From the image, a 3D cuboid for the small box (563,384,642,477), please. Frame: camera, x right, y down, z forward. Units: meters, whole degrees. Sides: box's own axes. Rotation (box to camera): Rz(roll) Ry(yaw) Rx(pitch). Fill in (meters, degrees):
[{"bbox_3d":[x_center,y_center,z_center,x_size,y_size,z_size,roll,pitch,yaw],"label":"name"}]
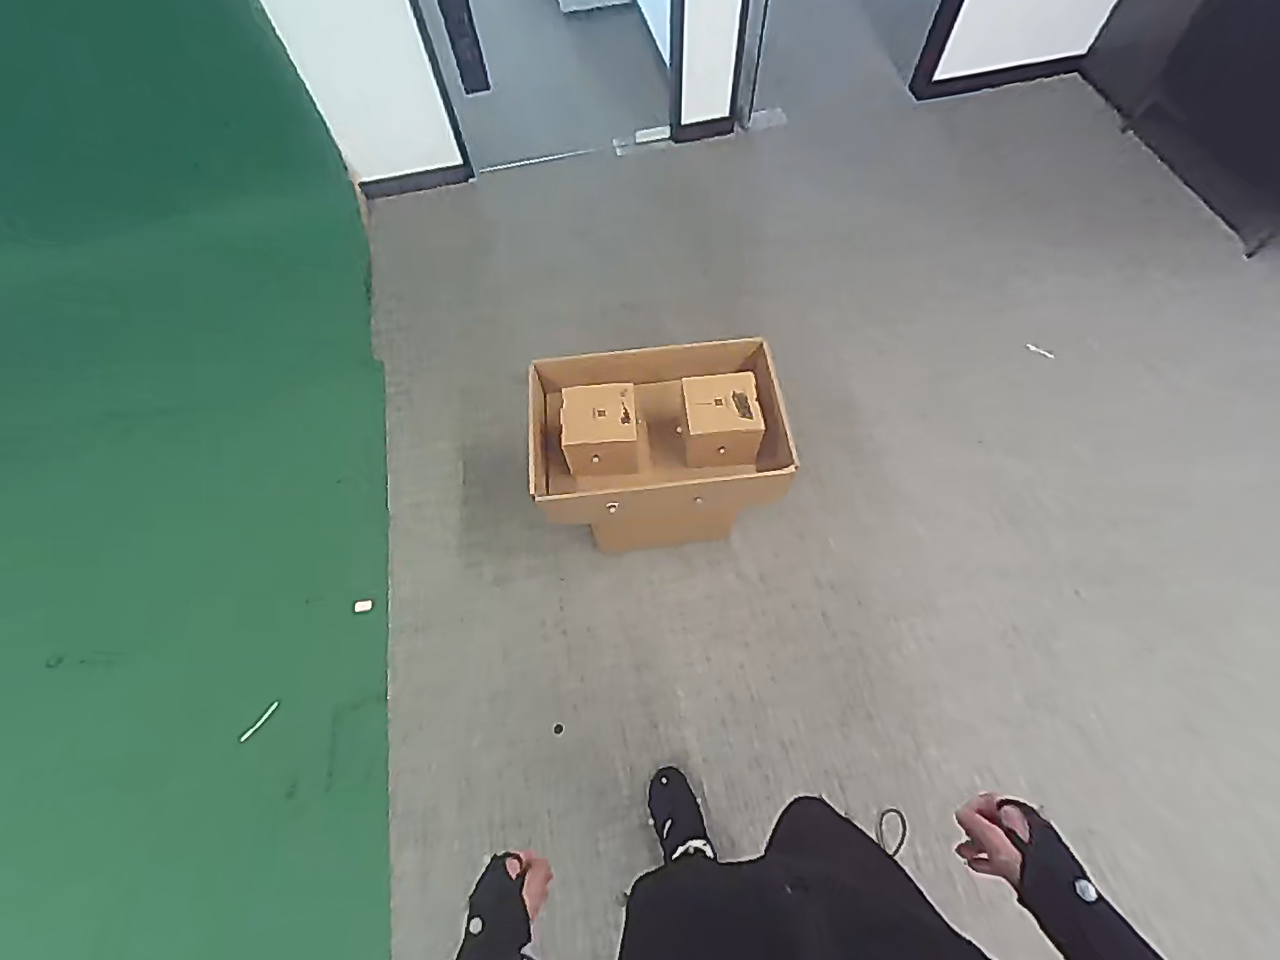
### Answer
[{"bbox_3d":[-0.089,-0.117,1.346,0.179,0.176,0.168,-4,63,2],"label":"small box"}]
